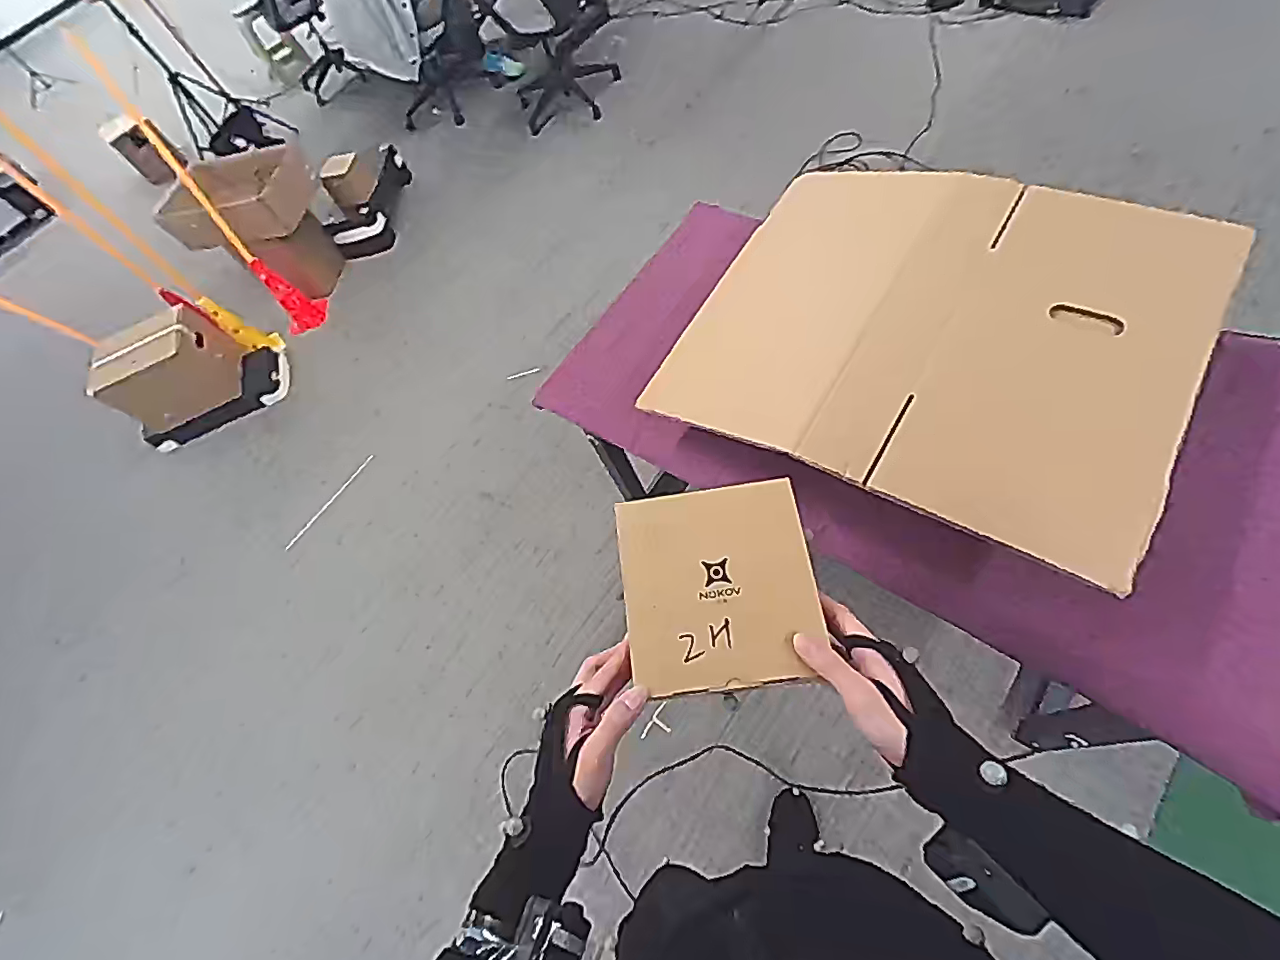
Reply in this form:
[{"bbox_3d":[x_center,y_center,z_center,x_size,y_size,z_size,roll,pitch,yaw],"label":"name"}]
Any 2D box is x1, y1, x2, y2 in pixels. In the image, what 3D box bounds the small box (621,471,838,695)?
[{"bbox_3d":[0.077,0.111,0.536,0.168,0.176,0.179,-8,67,4],"label":"small box"}]
